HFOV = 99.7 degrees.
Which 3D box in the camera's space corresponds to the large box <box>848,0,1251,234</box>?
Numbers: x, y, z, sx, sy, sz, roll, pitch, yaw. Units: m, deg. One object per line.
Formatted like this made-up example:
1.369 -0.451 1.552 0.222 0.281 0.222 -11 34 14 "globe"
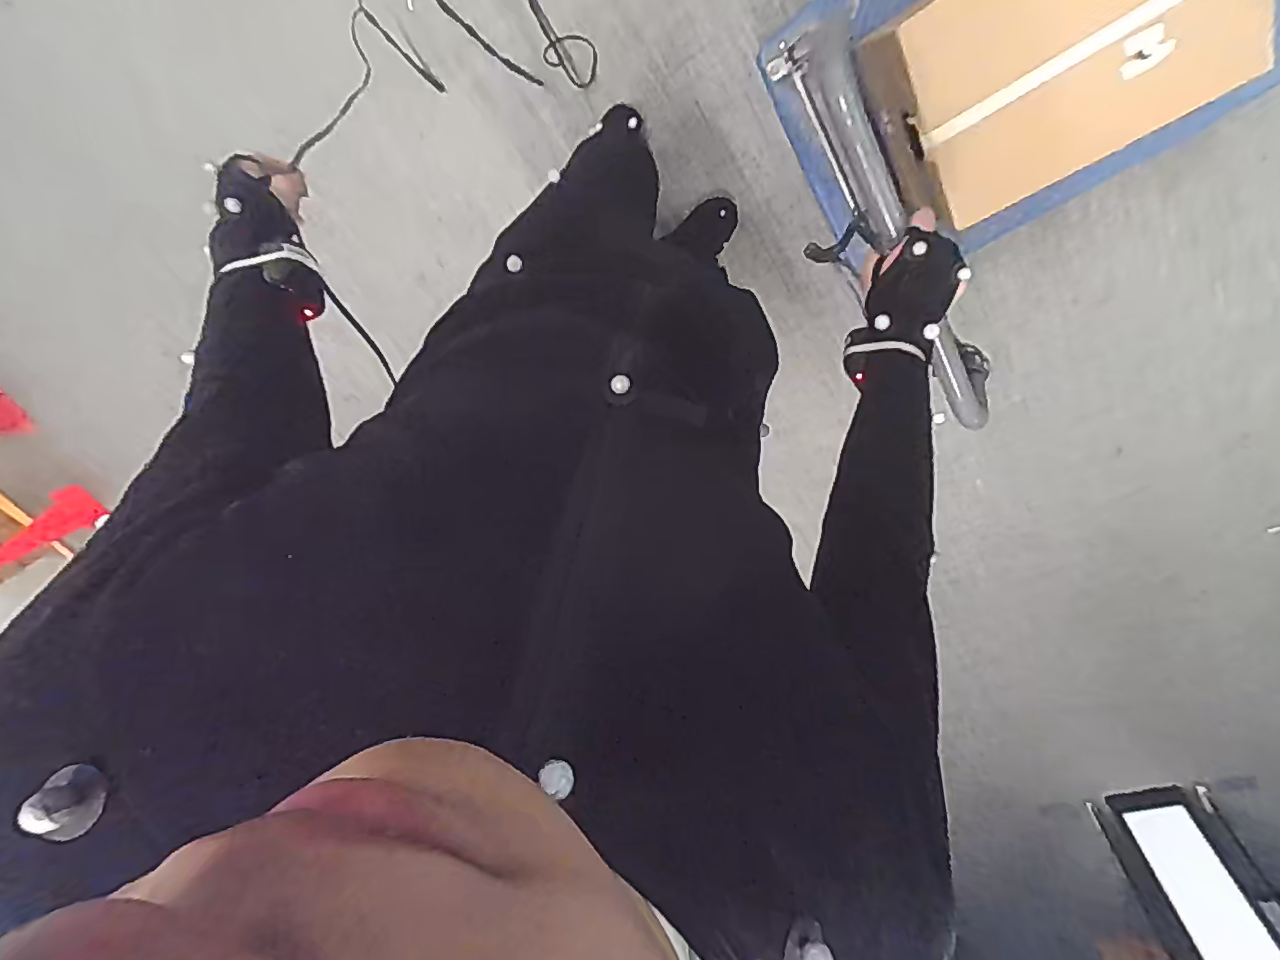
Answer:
0.615 -0.675 0.882 0.408 0.320 0.320 -24 118 22 "large box"
